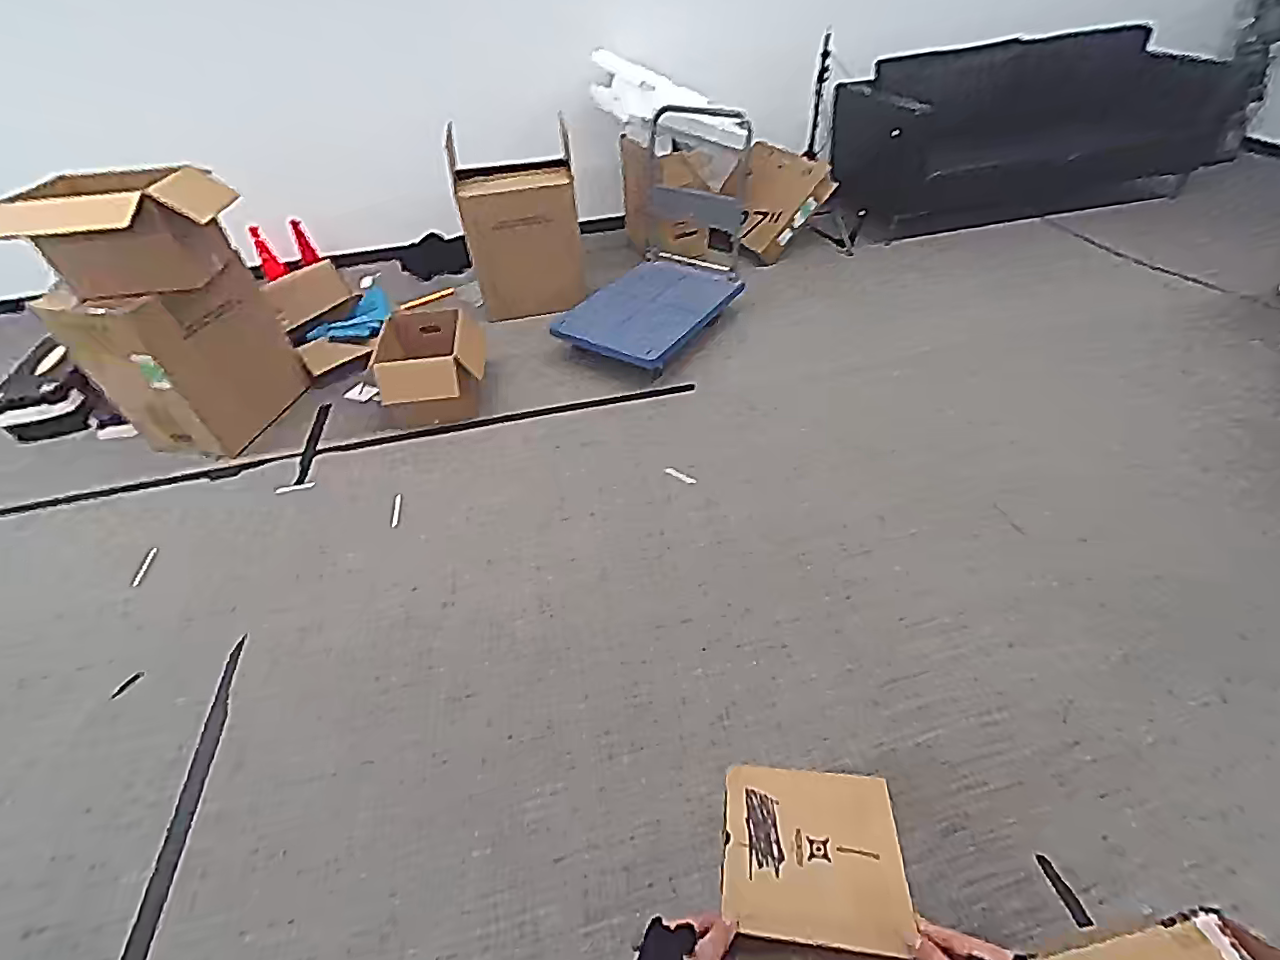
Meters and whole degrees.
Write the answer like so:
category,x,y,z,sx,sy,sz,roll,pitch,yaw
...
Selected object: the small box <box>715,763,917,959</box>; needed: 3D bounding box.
category,x,y,z,sx,sy,sz,roll,pitch,yaw
small box,0.179,0.439,0.583,0.179,0.176,0.168,-2,28,13
